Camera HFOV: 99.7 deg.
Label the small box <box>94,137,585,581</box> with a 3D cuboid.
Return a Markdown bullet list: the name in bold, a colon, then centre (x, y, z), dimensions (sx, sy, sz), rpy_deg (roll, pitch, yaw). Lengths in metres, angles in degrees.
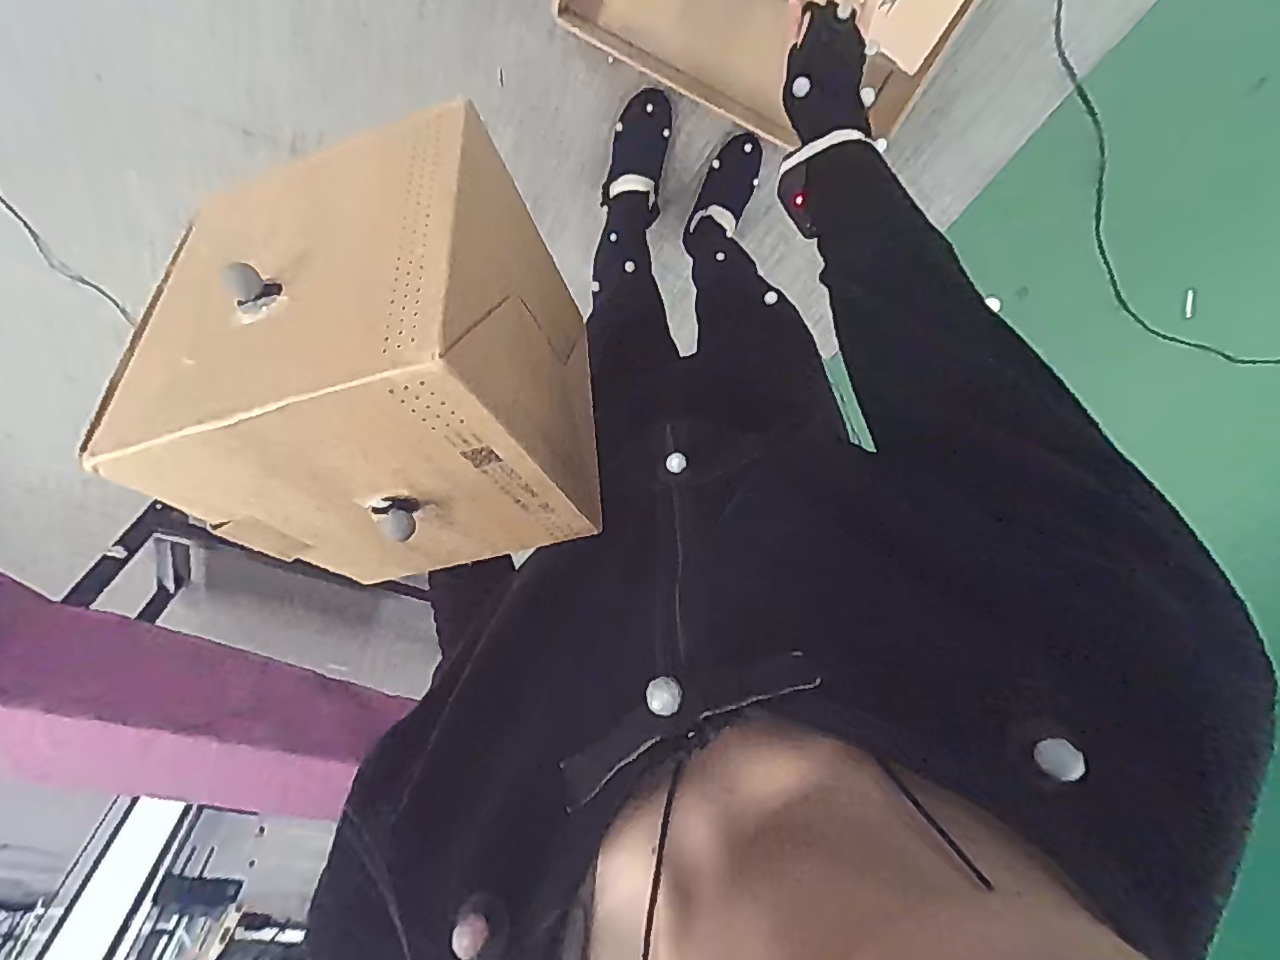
- **small box**: centre (-0.138, -0.060, 0.318), dimensions (0.176, 0.179, 0.168), rpy_deg (-13, 150, 10)

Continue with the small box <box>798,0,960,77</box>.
- **small box**: centre (0.337, -0.695, 0.729), dimensions (0.168, 0.176, 0.179), rpy_deg (20, 131, -17)
